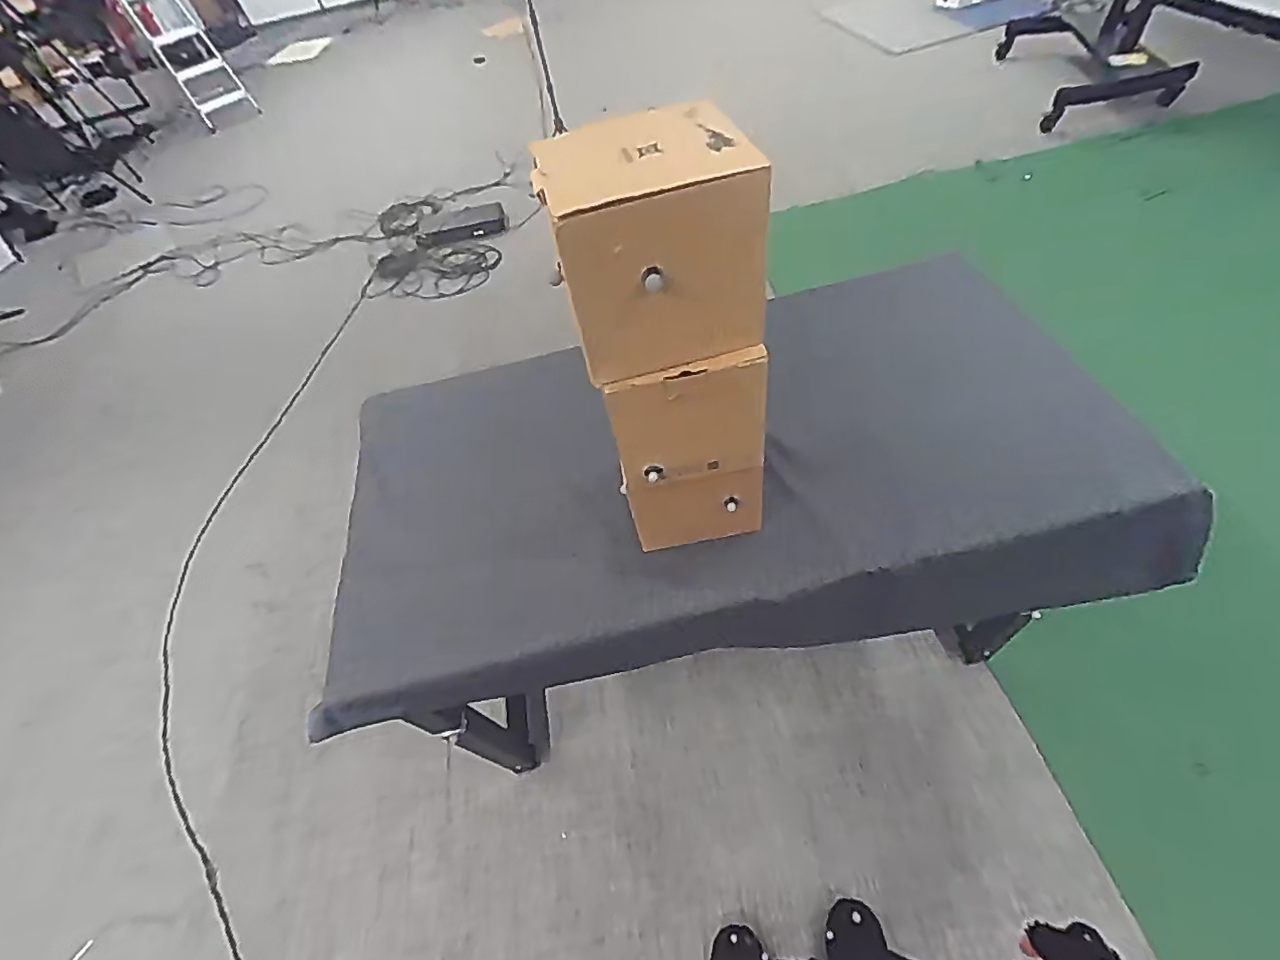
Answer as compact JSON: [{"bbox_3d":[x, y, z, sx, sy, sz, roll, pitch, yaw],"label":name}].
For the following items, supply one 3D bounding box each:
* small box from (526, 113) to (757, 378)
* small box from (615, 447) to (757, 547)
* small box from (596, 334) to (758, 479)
[{"bbox_3d":[0.004,-0.225,0.531,0.179,0.176,0.168,-17,50,-4],"label":"small box"},{"bbox_3d":[0.063,-0.025,0.781,0.179,0.176,0.168,-12,51,3],"label":"small box"},{"bbox_3d":[0.037,-0.118,0.648,0.168,0.176,0.179,-14,53,0],"label":"small box"}]
